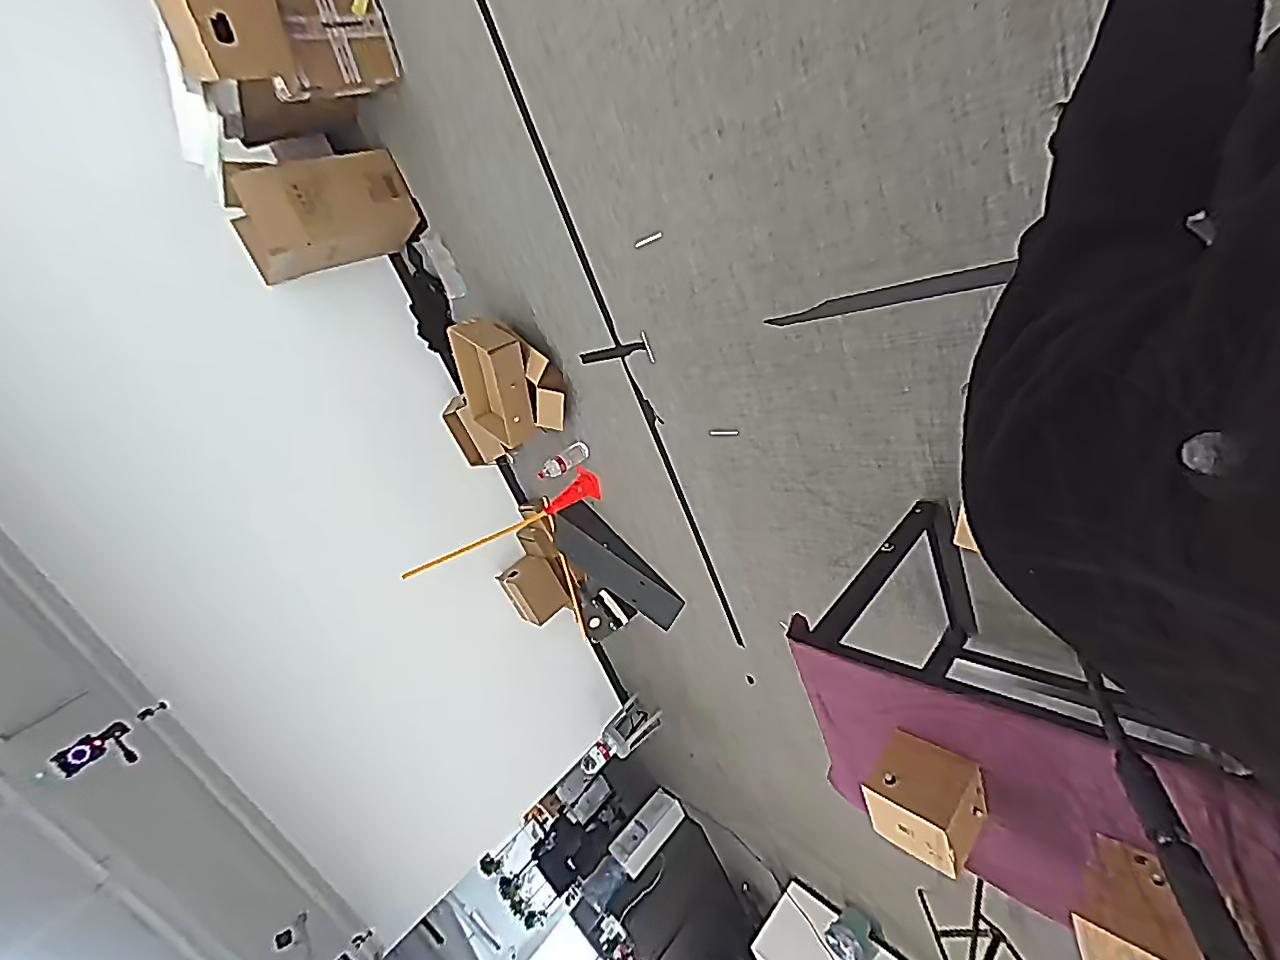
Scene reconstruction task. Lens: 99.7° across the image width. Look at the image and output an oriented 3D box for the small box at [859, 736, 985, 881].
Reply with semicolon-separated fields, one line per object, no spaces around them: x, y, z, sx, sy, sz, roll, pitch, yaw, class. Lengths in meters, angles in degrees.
0.604;0.686;1.156;0.179;0.176;0.168;7;126;50;small box
